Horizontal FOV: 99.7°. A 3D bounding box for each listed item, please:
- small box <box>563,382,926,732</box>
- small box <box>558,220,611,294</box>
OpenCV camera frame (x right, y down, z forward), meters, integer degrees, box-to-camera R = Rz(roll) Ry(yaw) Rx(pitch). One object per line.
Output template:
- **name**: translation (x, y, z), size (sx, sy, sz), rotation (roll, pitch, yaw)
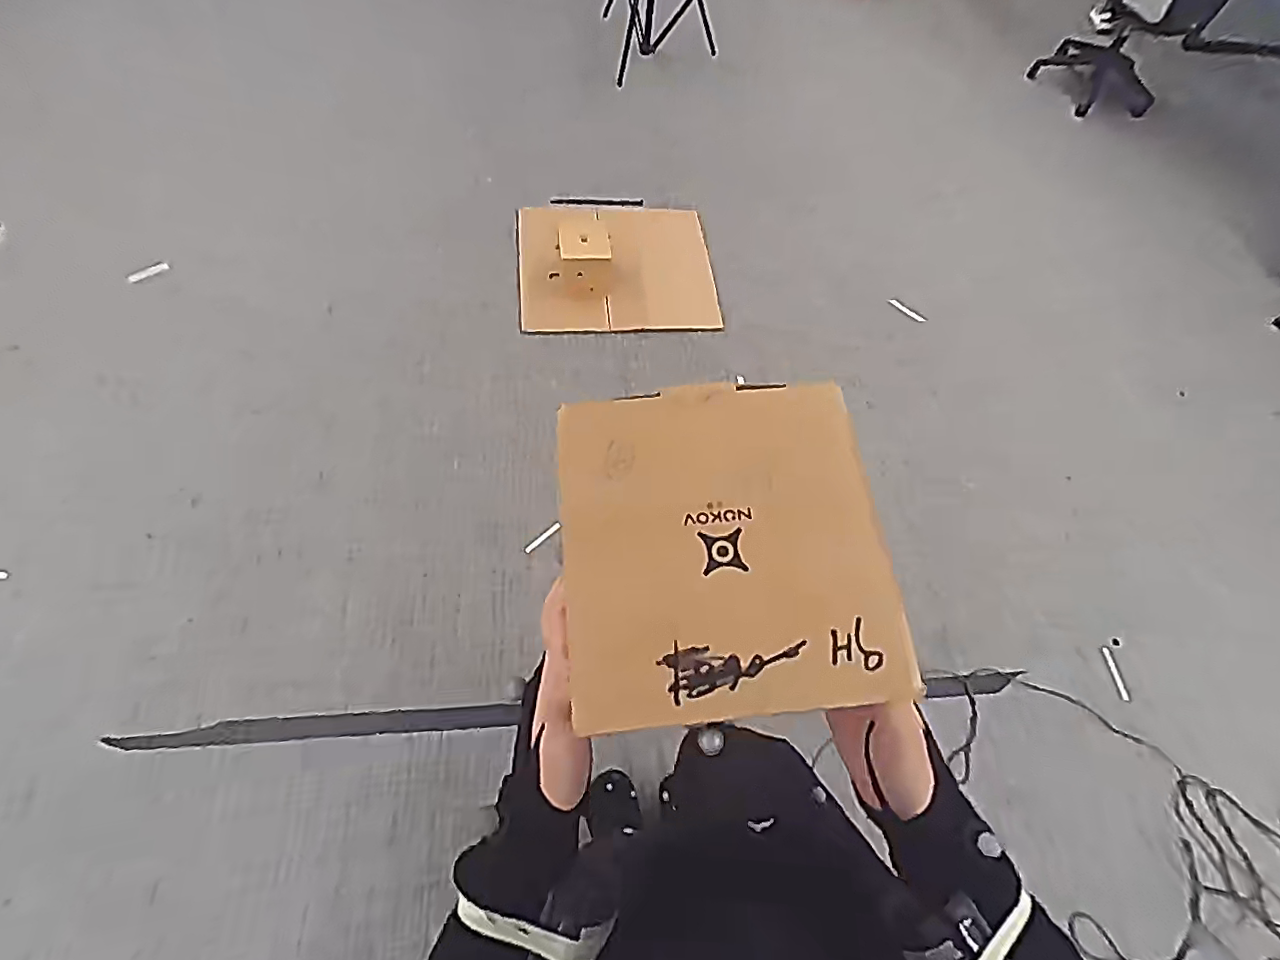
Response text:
- **small box**: translation (0.044, 0.060, 0.350), size (0.168, 0.176, 0.179), rotation (-6, 67, -1)
- **small box**: translation (-0.189, -0.755, 1.844), size (0.168, 0.176, 0.179), rotation (-5, 65, -9)
